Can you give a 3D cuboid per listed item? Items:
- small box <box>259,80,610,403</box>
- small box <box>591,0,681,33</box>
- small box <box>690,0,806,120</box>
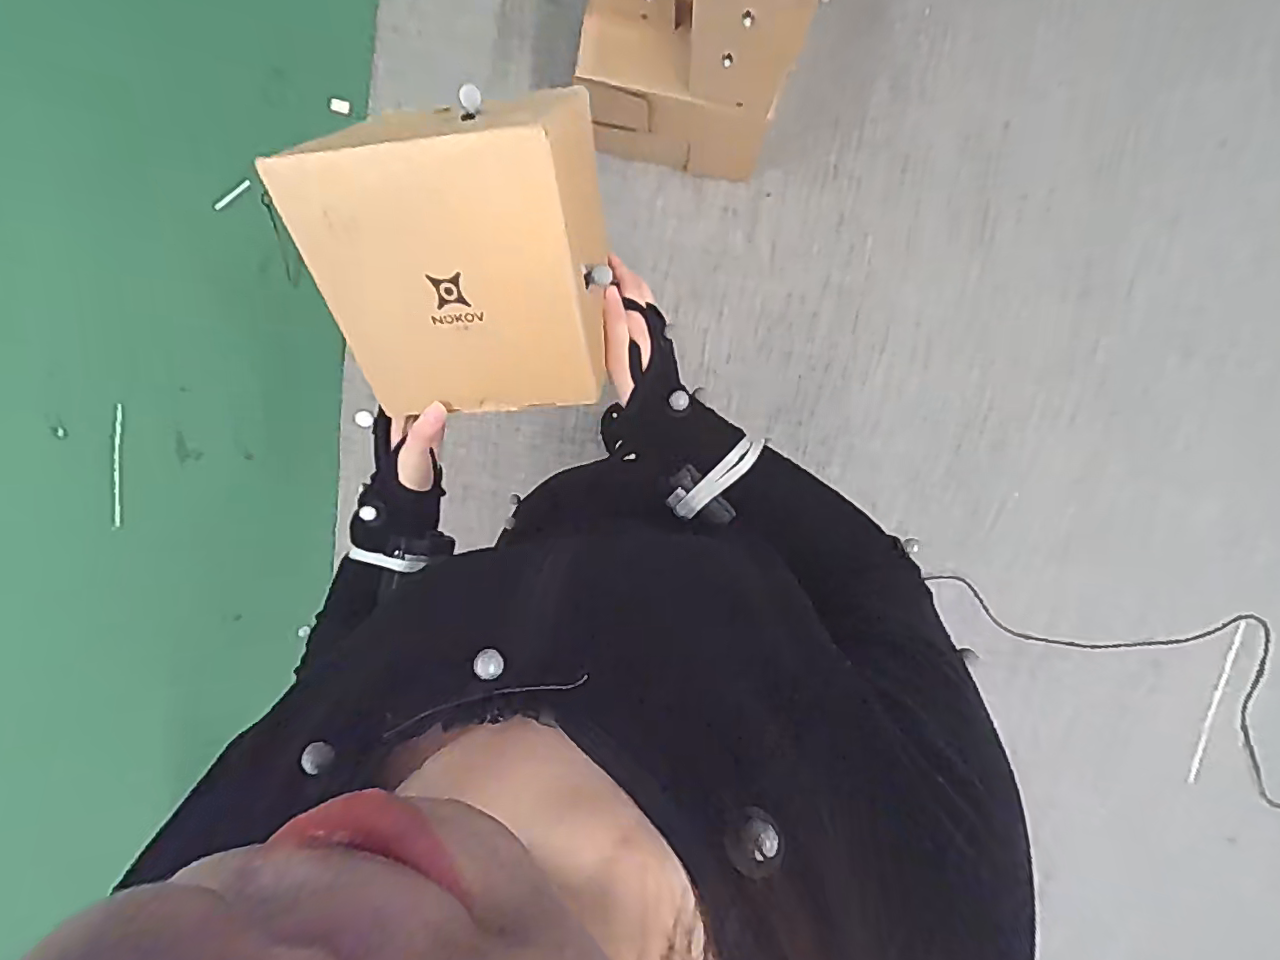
[{"bbox_3d":[-0.118,-0.179,0.402,0.168,0.176,0.179,-2,133,6],"label":"small box"},{"bbox_3d":[0.001,-0.950,0.959,0.168,0.176,0.179,13,96,1],"label":"small box"},{"bbox_3d":[0.190,-0.794,0.965,0.168,0.176,0.179,15,97,1],"label":"small box"}]
